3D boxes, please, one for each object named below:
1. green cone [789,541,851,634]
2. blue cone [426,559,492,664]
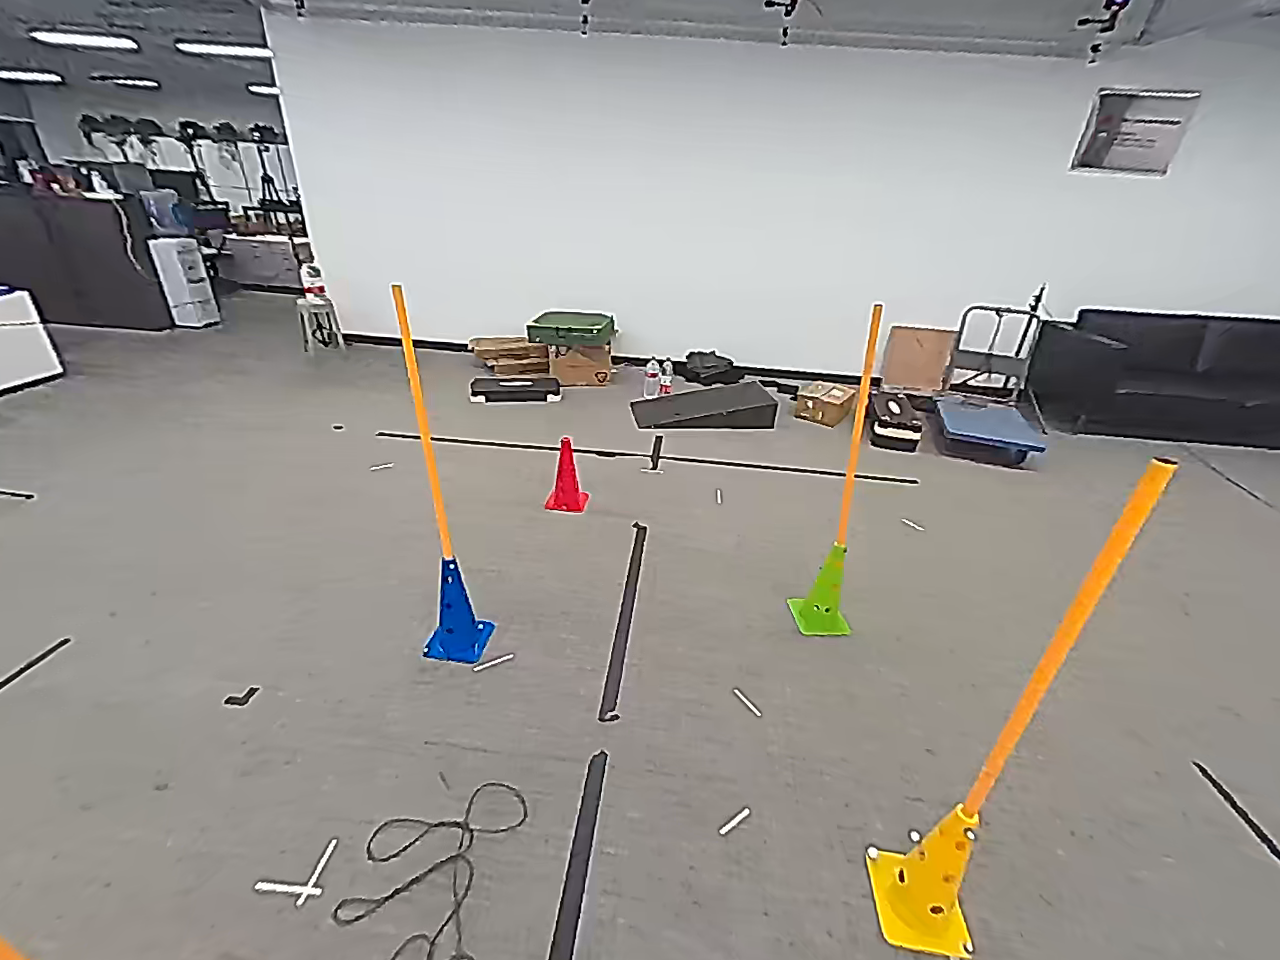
[{"bbox_3d":[0.719,0.386,2.059,0.200,0.368,0.202,0,30,-6],"label":"green cone"},{"bbox_3d":[-0.628,0.425,1.841,0.193,0.380,0.192,7,29,6],"label":"blue cone"}]
